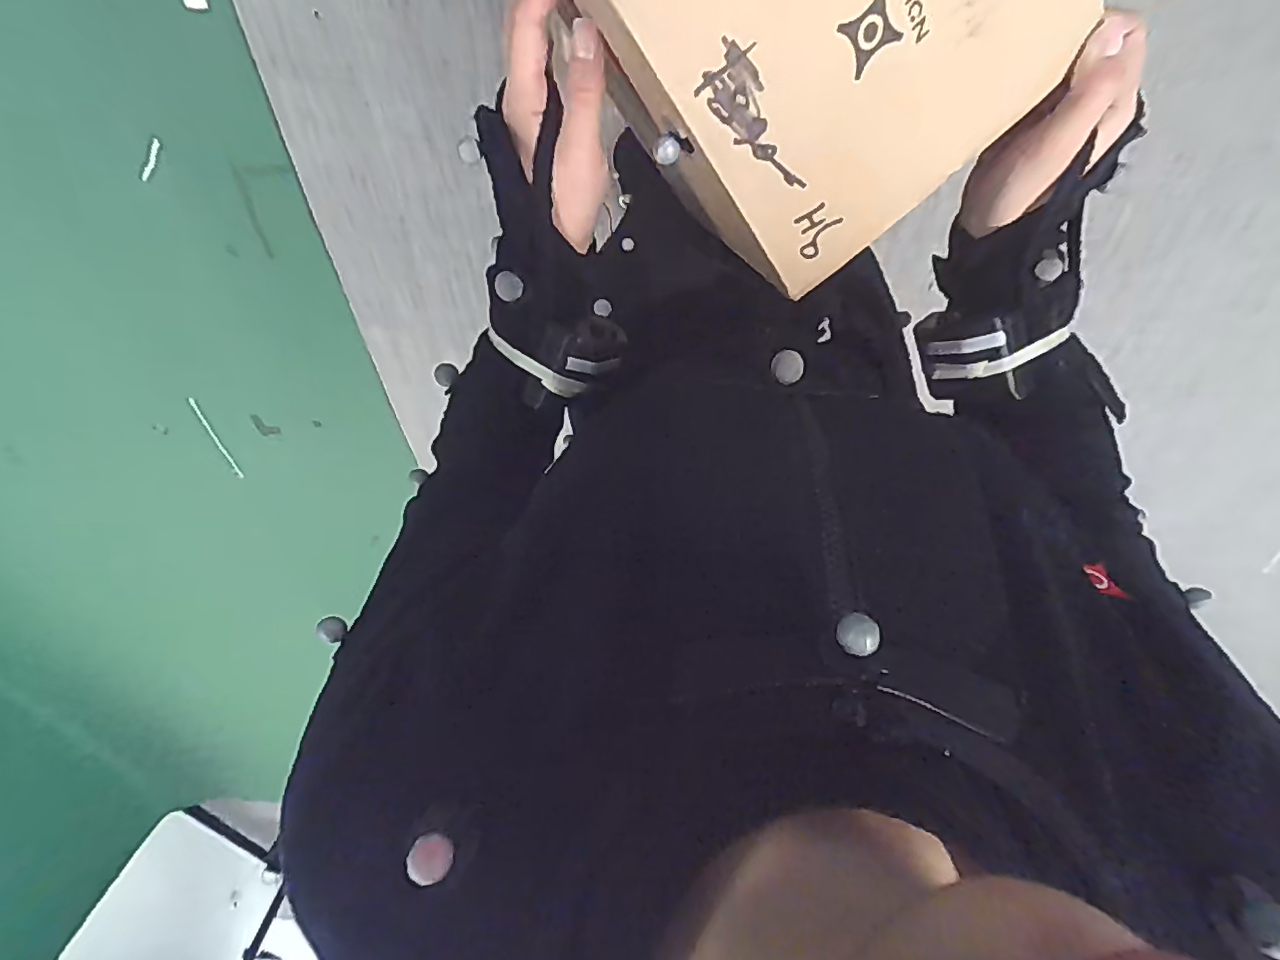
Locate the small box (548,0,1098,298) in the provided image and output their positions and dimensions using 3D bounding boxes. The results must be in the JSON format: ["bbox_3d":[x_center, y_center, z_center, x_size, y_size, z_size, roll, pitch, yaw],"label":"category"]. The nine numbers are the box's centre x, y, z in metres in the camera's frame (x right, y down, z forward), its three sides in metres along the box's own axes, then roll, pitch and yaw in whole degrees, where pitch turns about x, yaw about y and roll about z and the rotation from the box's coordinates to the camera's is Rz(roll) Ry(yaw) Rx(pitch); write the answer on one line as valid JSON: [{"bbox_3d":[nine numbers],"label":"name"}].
[{"bbox_3d":[0.075,-0.237,0.274,0.179,0.176,0.168,-39,131,14],"label":"small box"}]
